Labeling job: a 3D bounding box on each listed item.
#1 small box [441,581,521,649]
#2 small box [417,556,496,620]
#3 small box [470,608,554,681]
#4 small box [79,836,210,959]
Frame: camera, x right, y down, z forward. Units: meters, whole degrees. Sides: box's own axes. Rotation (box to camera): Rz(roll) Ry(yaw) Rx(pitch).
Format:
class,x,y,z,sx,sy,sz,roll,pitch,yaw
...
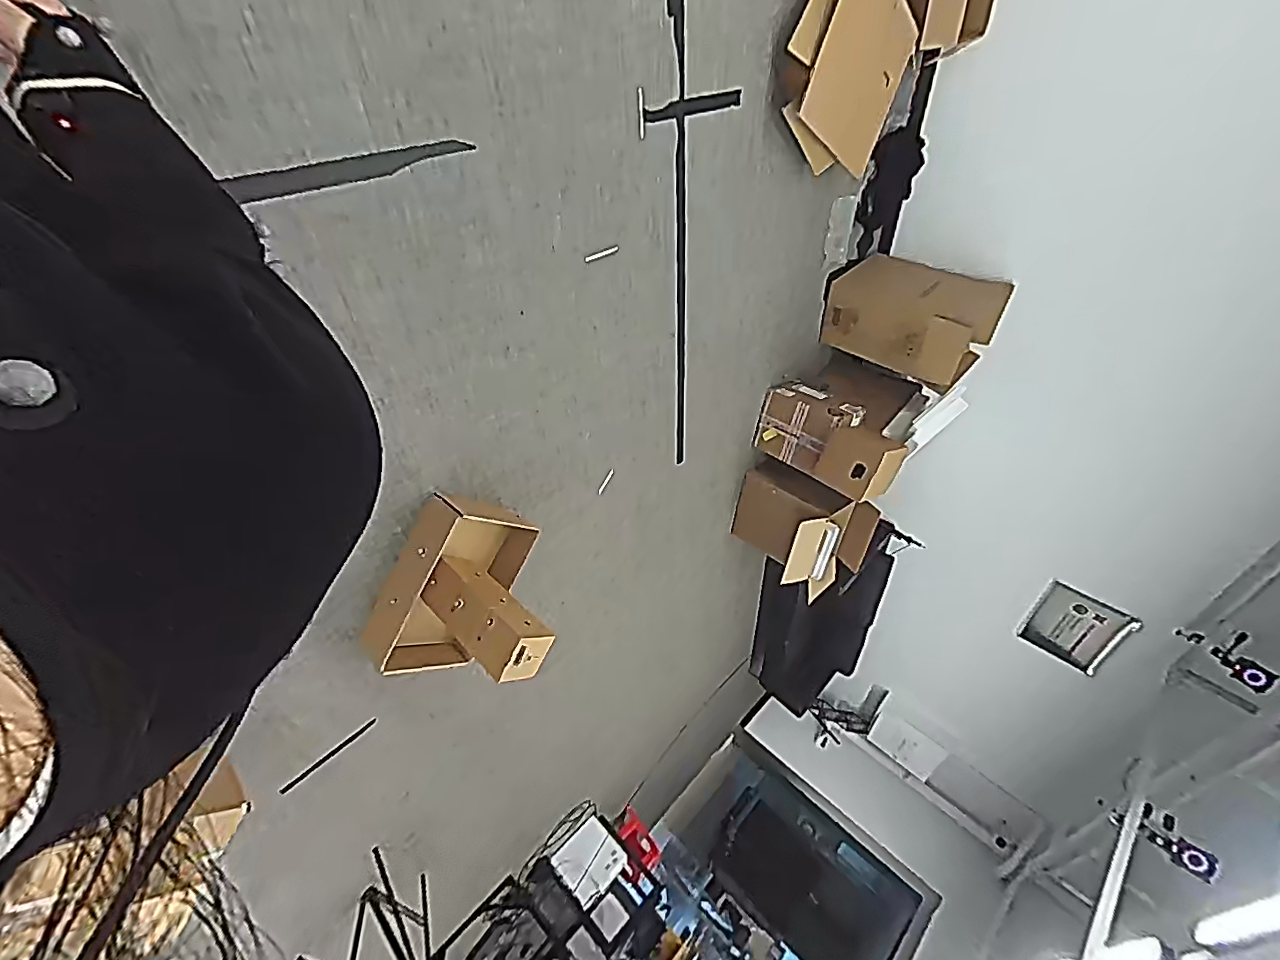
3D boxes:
class,x,y,z,sx,sy,sz,roll,pitch,yaw
small box,-0.547,0.464,1.866,0.179,0.176,0.168,24,95,-56
small box,-0.664,0.392,1.952,0.168,0.176,0.179,-60,147,2
small box,-0.425,0.535,1.781,0.179,0.176,0.168,22,98,-58
small box,-1.175,0.985,1.278,0.179,0.176,0.168,-59,147,1
